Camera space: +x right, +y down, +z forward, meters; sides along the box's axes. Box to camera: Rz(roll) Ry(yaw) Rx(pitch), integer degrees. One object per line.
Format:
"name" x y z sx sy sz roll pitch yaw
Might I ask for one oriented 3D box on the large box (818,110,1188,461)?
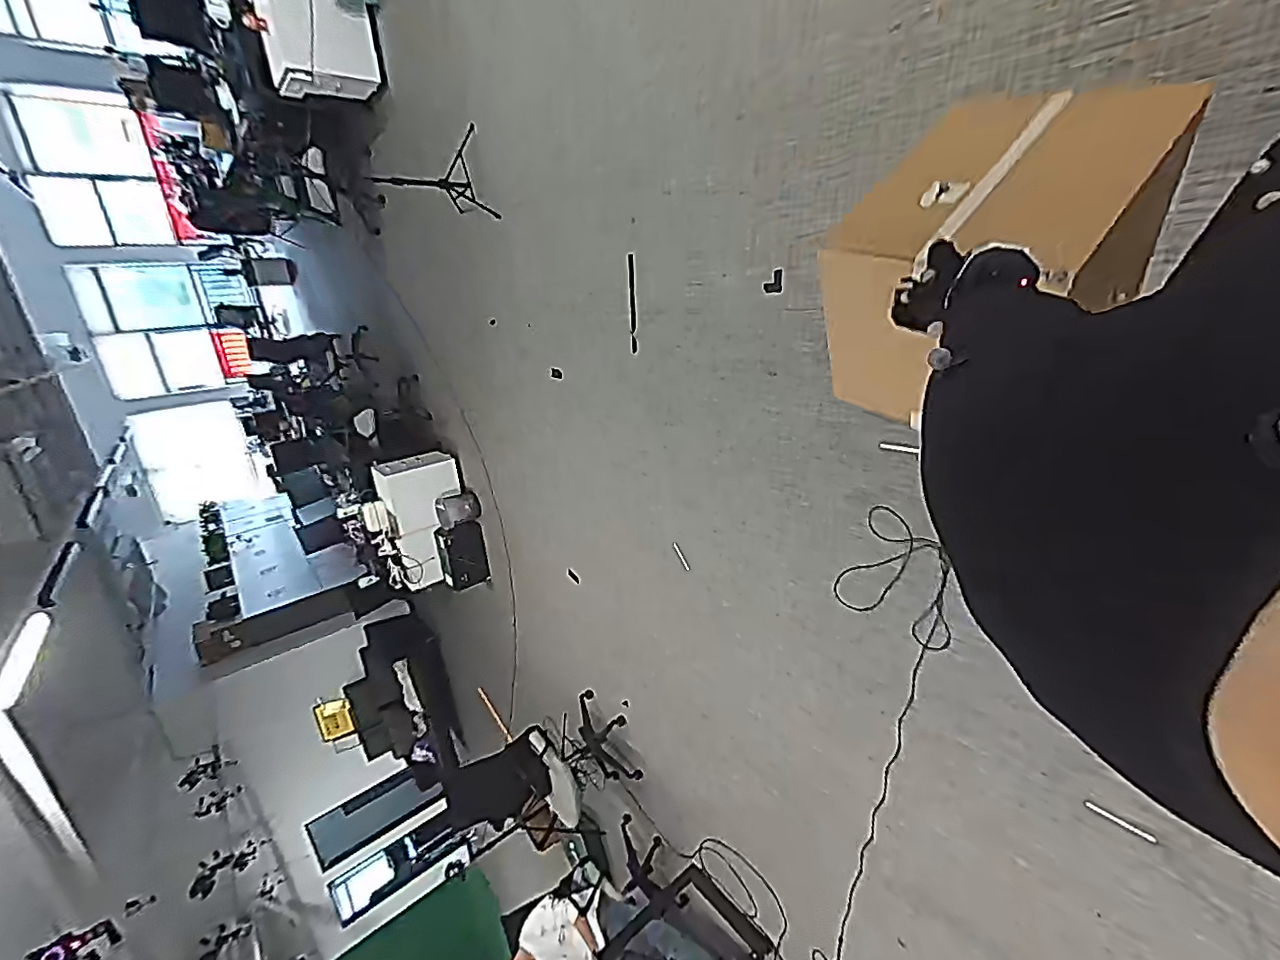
"large box" 0.537 -0.308 0.849 0.320 0.408 0.320 29 159 41
